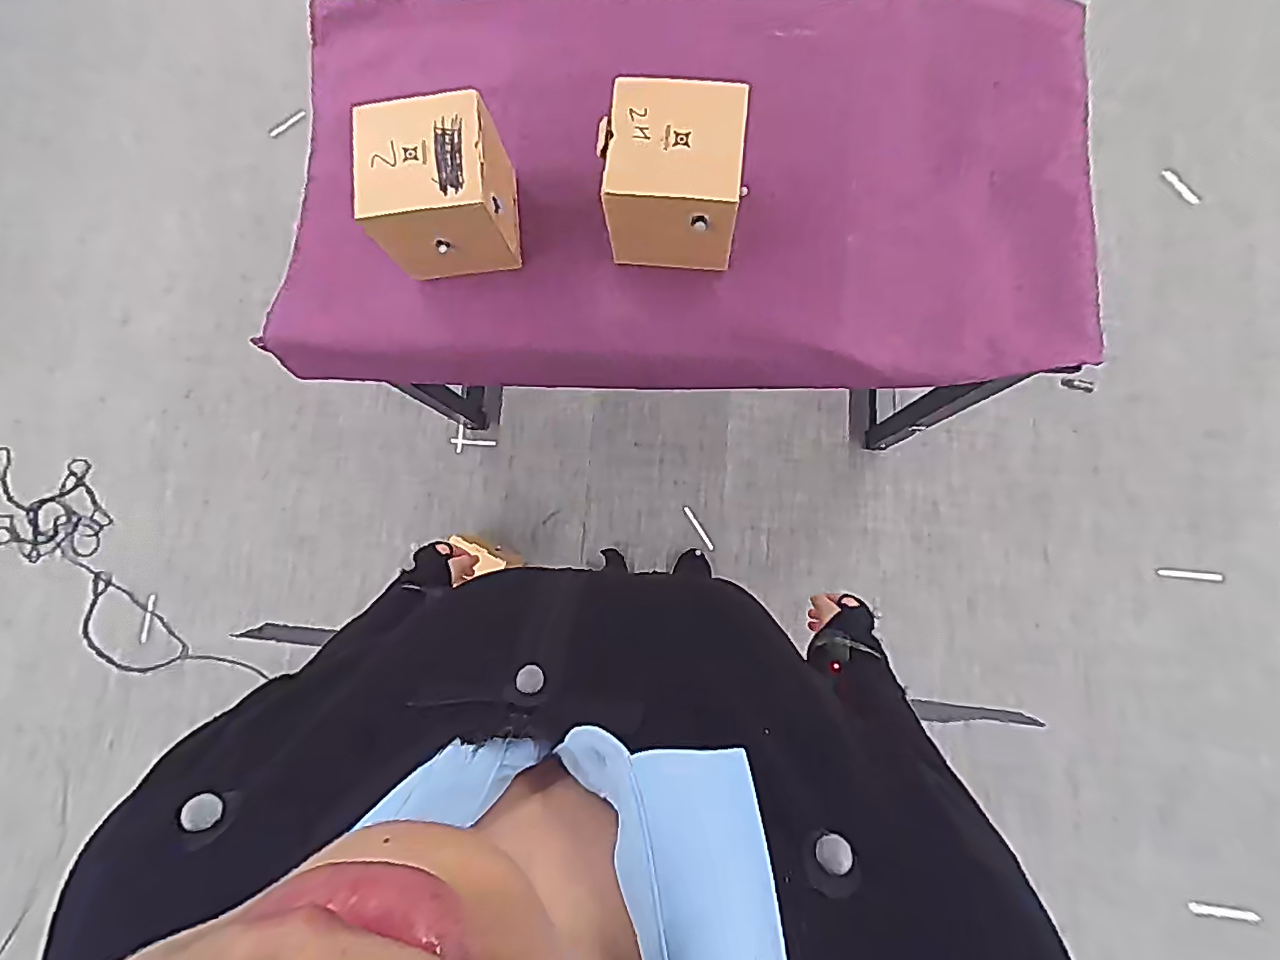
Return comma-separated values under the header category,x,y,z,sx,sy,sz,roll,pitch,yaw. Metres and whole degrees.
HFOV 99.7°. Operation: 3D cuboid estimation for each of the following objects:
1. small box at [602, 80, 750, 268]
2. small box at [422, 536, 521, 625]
category,x,y,z,sx,sy,sz,roll,pitch,yaw
small box,0.051,-0.419,0.765,0.179,0.176,0.168,5,82,5
small box,-0.440,0.266,1.450,0.168,0.176,0.179,26,85,6
